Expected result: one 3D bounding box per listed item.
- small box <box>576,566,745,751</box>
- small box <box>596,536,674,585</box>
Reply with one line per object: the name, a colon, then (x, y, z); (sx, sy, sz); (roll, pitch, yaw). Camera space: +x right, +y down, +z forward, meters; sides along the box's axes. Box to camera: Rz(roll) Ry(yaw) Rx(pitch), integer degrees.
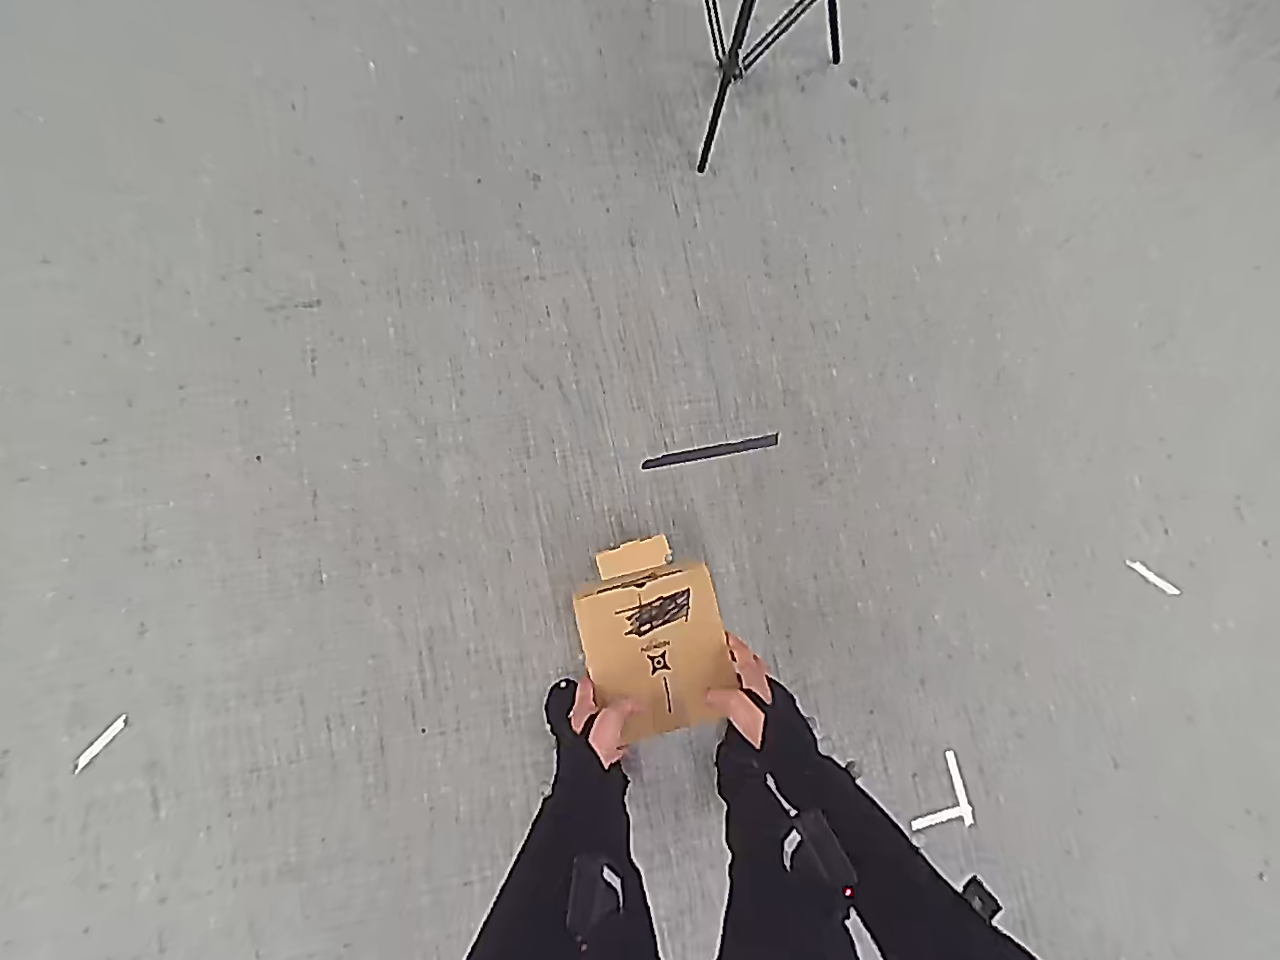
small box: (0.018, 0.214, 0.700); (0.168, 0.176, 0.179); (-14, 84, -3)
small box: (-0.005, 0.241, 1.269); (0.168, 0.176, 0.179); (-16, 82, -7)
